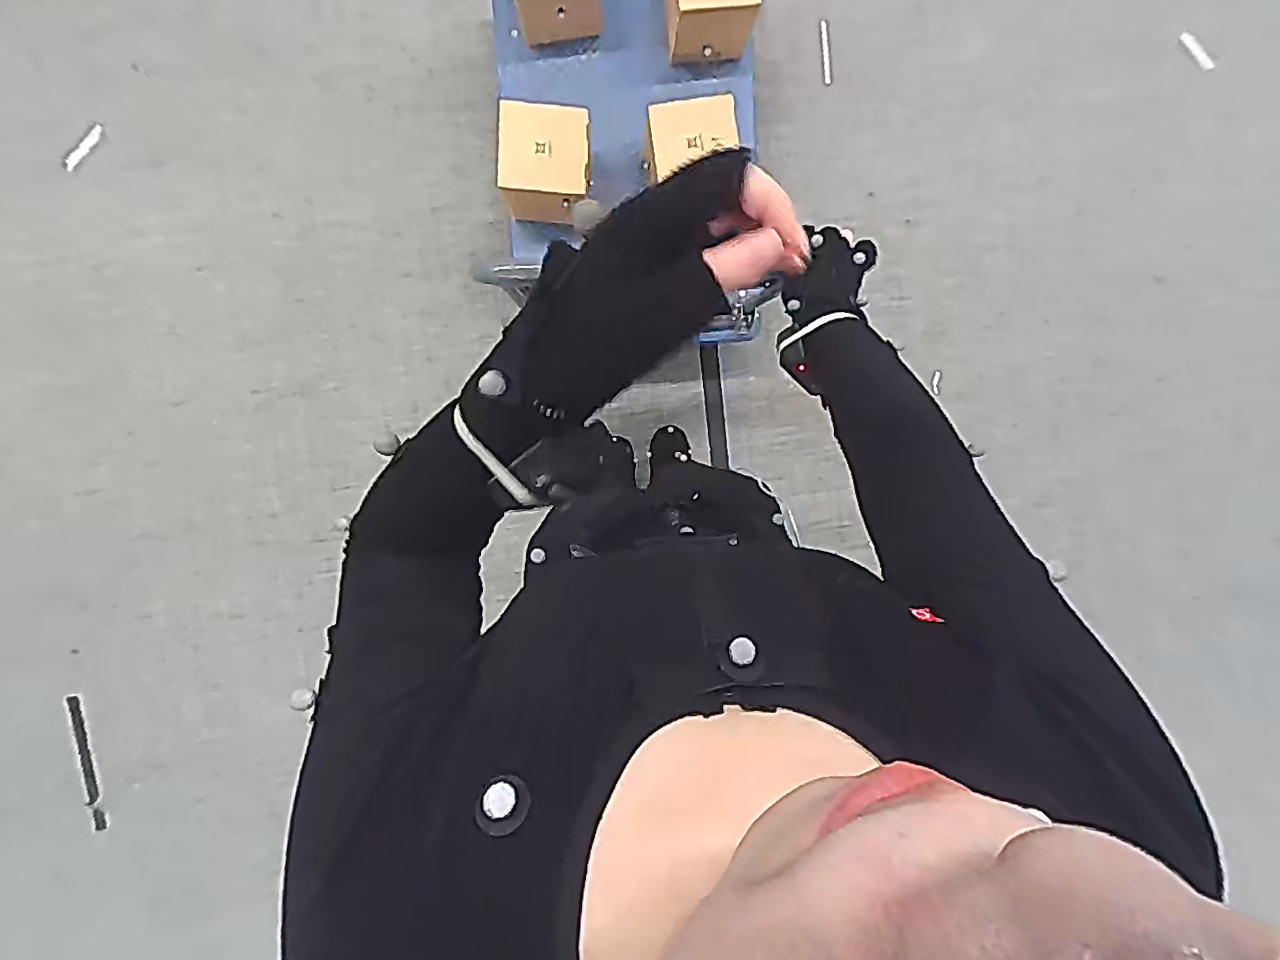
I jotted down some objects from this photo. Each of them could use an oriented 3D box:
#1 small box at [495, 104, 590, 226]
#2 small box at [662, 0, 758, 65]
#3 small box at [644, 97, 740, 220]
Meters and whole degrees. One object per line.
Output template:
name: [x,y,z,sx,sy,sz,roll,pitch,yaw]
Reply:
small box: [-0.200,-0.655,1.143,0.179,0.176,0.168,2,96,-5]
small box: [0.138,-1.011,1.121,0.168,0.176,0.179,-6,97,-2]
small box: [0.103,-0.675,1.155,0.179,0.176,0.168,-9,97,-2]
